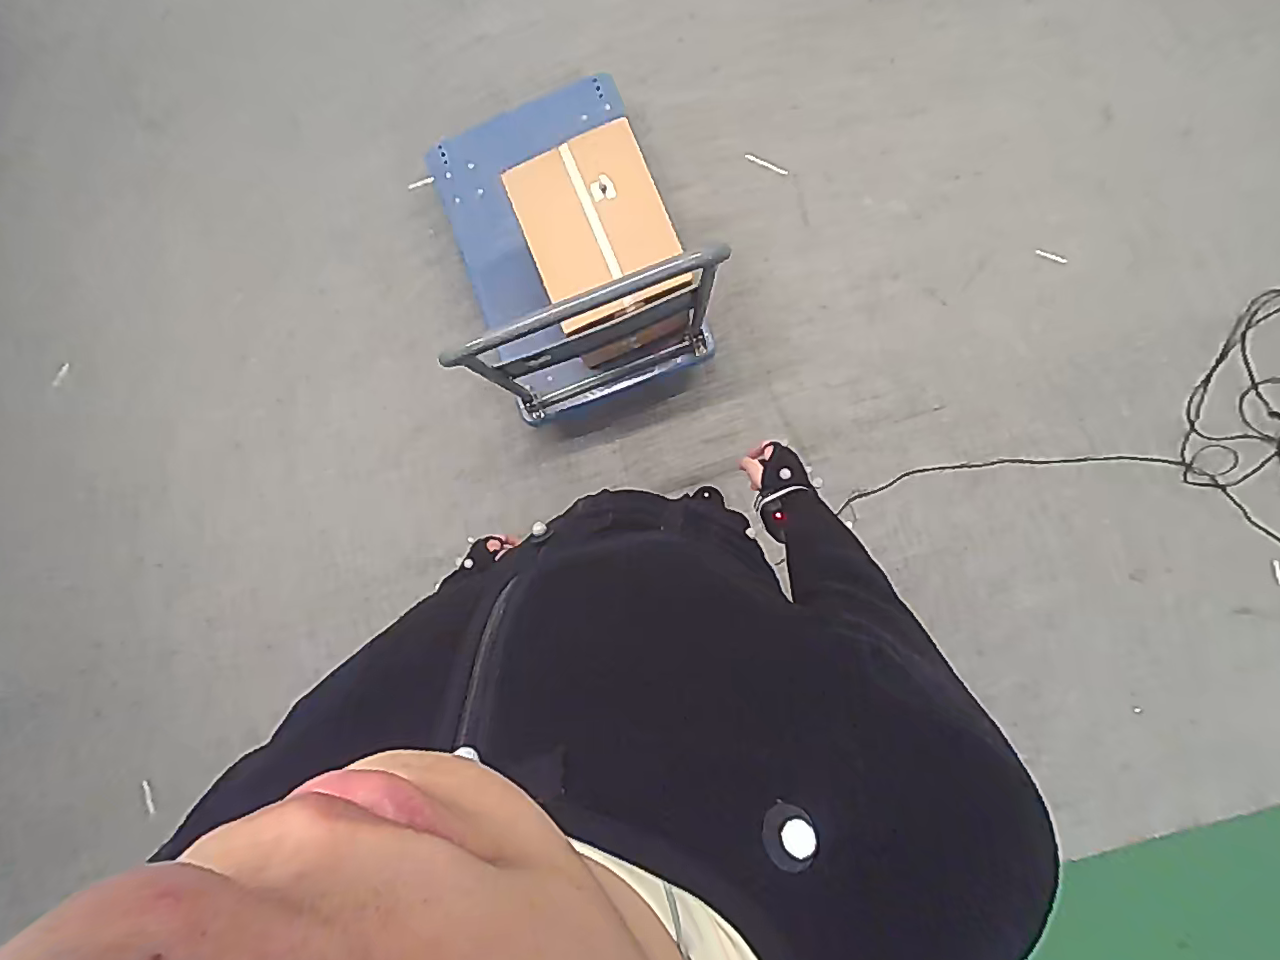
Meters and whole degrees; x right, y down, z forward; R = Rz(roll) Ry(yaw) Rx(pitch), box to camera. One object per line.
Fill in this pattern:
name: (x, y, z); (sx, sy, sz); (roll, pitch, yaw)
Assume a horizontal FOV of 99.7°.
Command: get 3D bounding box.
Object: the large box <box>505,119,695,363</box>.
large box: (-0.079, -0.564, 1.352); (0.320, 0.320, 0.408); (-22, 86, 2)
